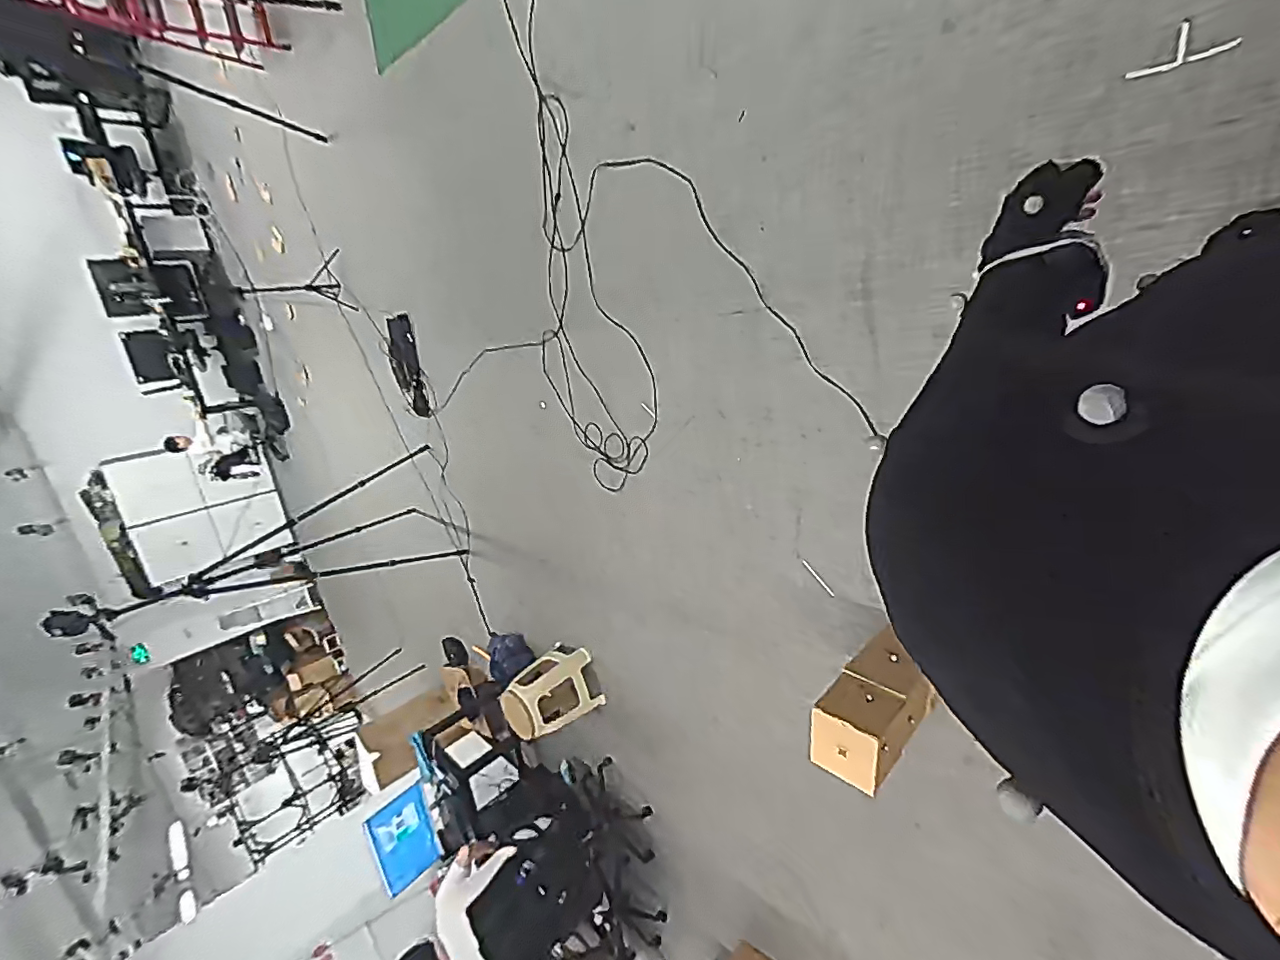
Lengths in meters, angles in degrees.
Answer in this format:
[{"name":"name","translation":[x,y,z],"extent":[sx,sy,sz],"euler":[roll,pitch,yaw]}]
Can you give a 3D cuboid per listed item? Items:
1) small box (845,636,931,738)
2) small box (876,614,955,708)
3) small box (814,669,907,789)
[{"name":"small box","translation":[0.668,0.559,1.462],"extent":[0.168,0.176,0.179],"euler":[14,117,44]},{"name":"small box","translation":[0.788,0.511,1.563],"extent":[0.179,0.176,0.168],"euler":[13,116,43]},{"name":"small box","translation":[0.554,0.616,1.360],"extent":[0.168,0.176,0.179],"euler":[14,117,44]}]
